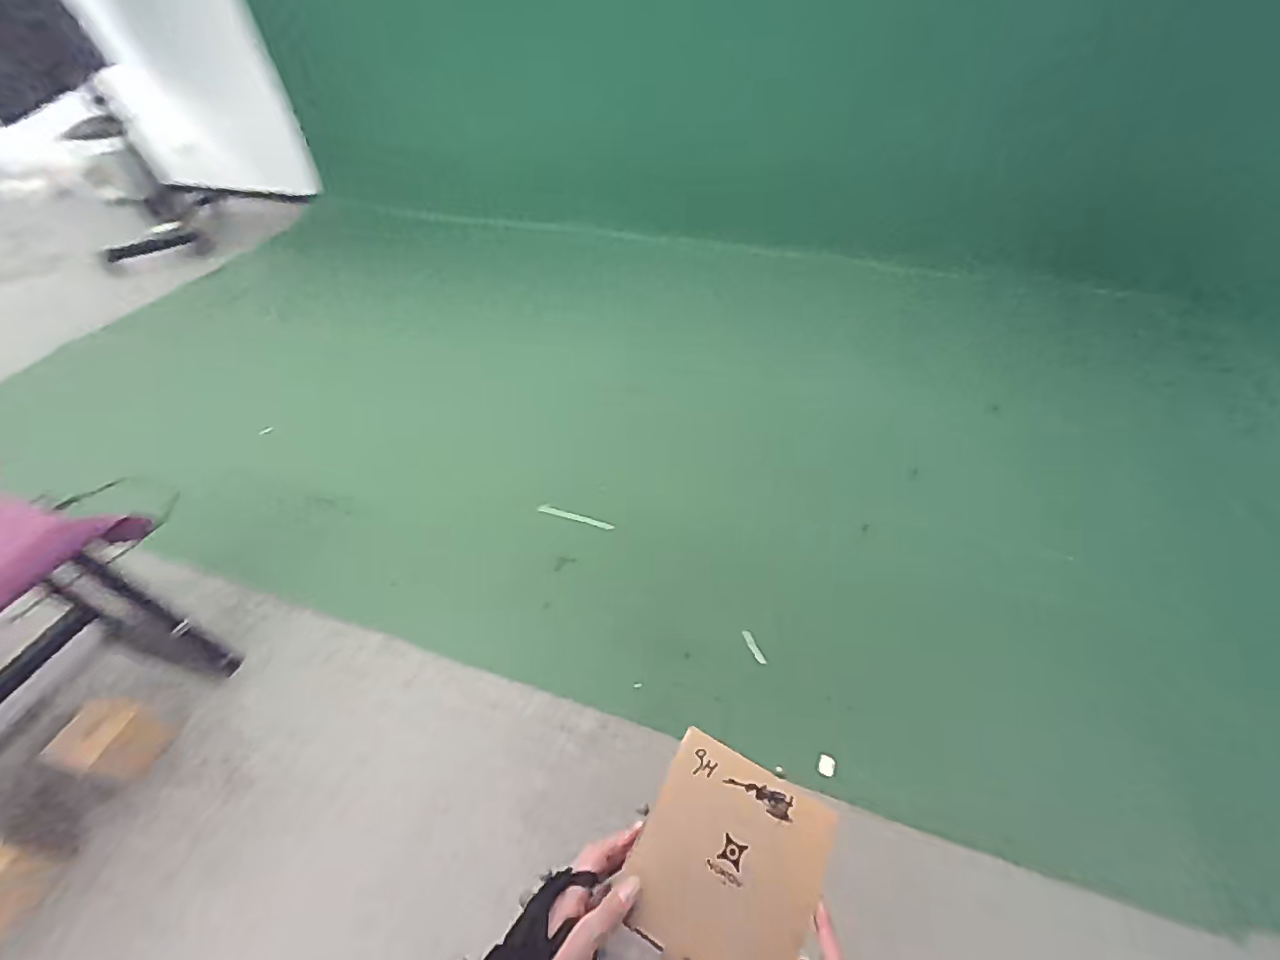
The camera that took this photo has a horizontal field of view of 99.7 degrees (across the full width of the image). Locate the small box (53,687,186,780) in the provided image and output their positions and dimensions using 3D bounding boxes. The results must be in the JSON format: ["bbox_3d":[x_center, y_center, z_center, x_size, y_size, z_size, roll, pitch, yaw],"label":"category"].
[{"bbox_3d":[-1.458,0.720,1.529,0.168,0.176,0.179,11,49,13],"label":"small box"}]

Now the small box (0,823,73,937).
[{"bbox_3d":[-1.552,0.966,1.310,0.168,0.176,0.179,13,50,16],"label":"small box"}]
